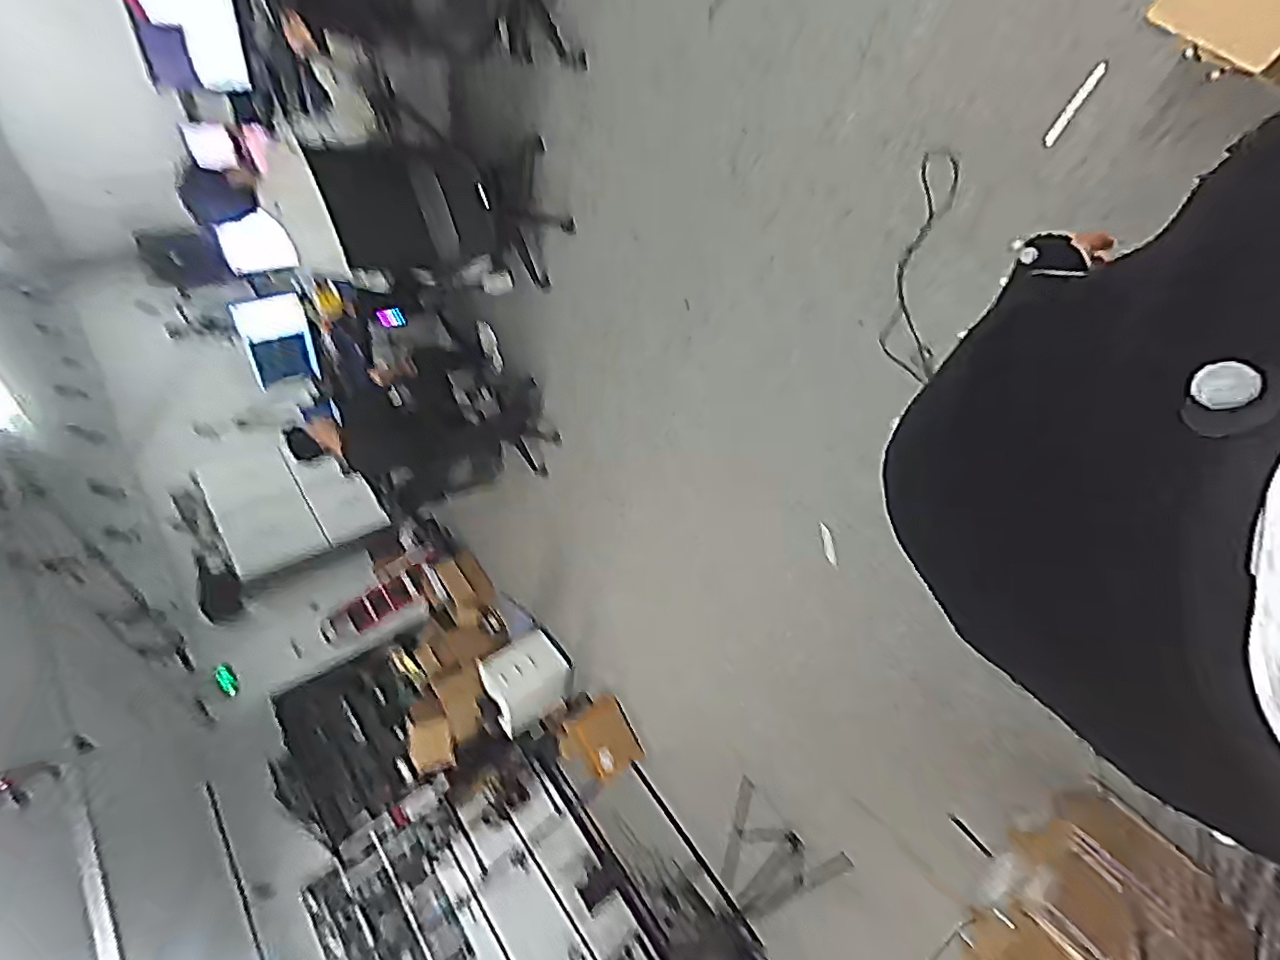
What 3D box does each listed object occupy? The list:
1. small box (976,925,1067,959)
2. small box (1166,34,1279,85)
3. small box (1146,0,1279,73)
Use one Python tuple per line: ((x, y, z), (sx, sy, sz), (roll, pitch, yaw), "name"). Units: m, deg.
((0.888, 1.162, 1.230), (0.179, 0.176, 0.168), (43, 138, 30), "small box")
((0.967, -0.721, 0.810), (0.168, 0.176, 0.179), (47, 143, 24), "small box")
((0.843, -0.668, 0.716), (0.179, 0.176, 0.168), (49, 144, 20), "small box")
